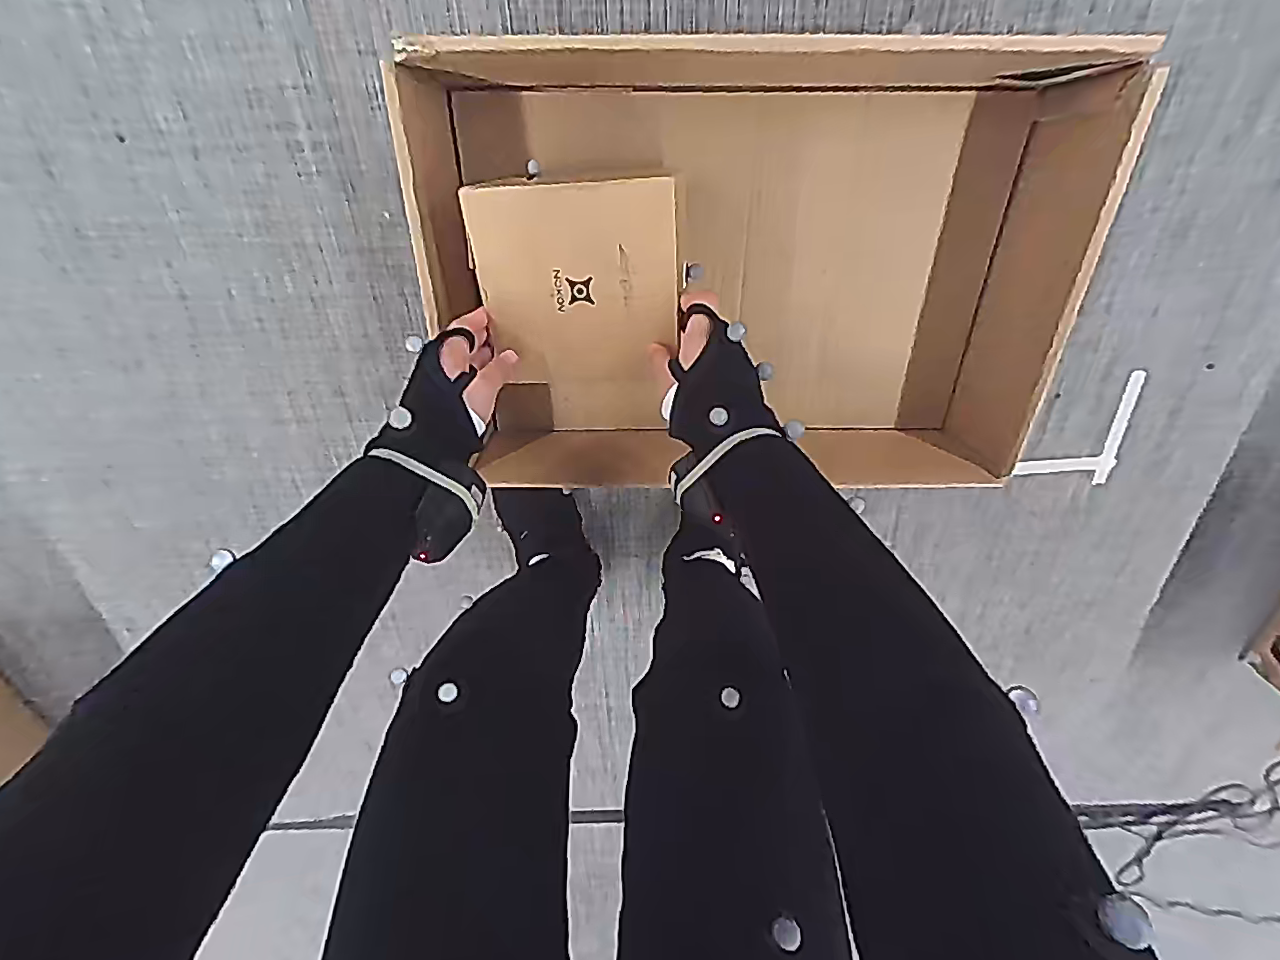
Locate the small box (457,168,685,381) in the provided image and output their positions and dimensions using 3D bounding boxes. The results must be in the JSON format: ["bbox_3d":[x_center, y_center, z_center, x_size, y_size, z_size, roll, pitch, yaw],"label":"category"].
[{"bbox_3d":[-0.049,-0.205,0.533,0.179,0.176,0.168,-1,122,8],"label":"small box"}]
